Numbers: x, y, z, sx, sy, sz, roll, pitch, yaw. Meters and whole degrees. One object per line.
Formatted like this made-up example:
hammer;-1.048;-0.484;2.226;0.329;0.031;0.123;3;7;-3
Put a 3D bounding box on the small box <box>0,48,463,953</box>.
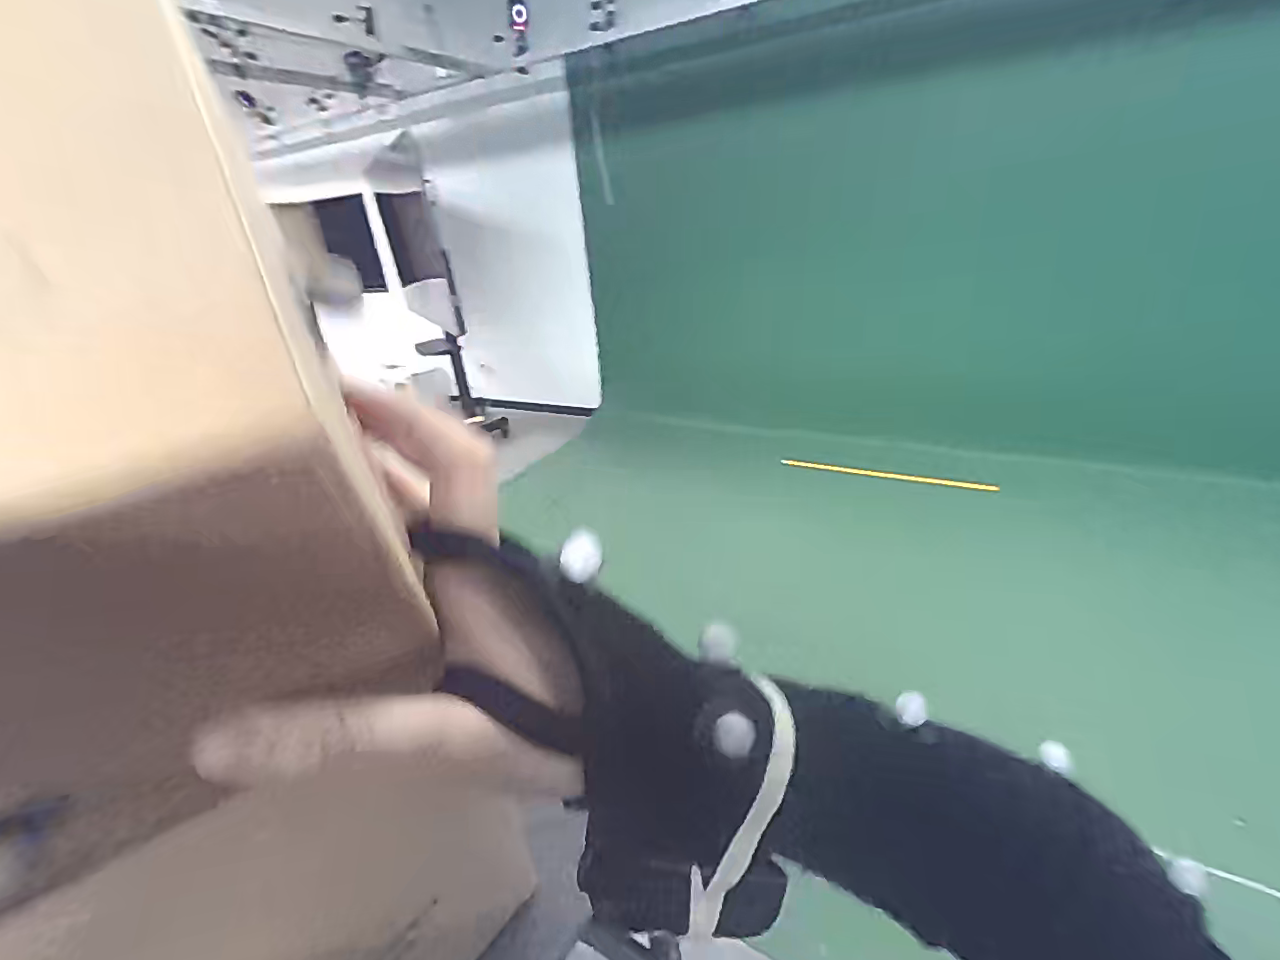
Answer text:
small box;-0.165;0.016;0.156;0.168;0.176;0.179;-22;64;-23
